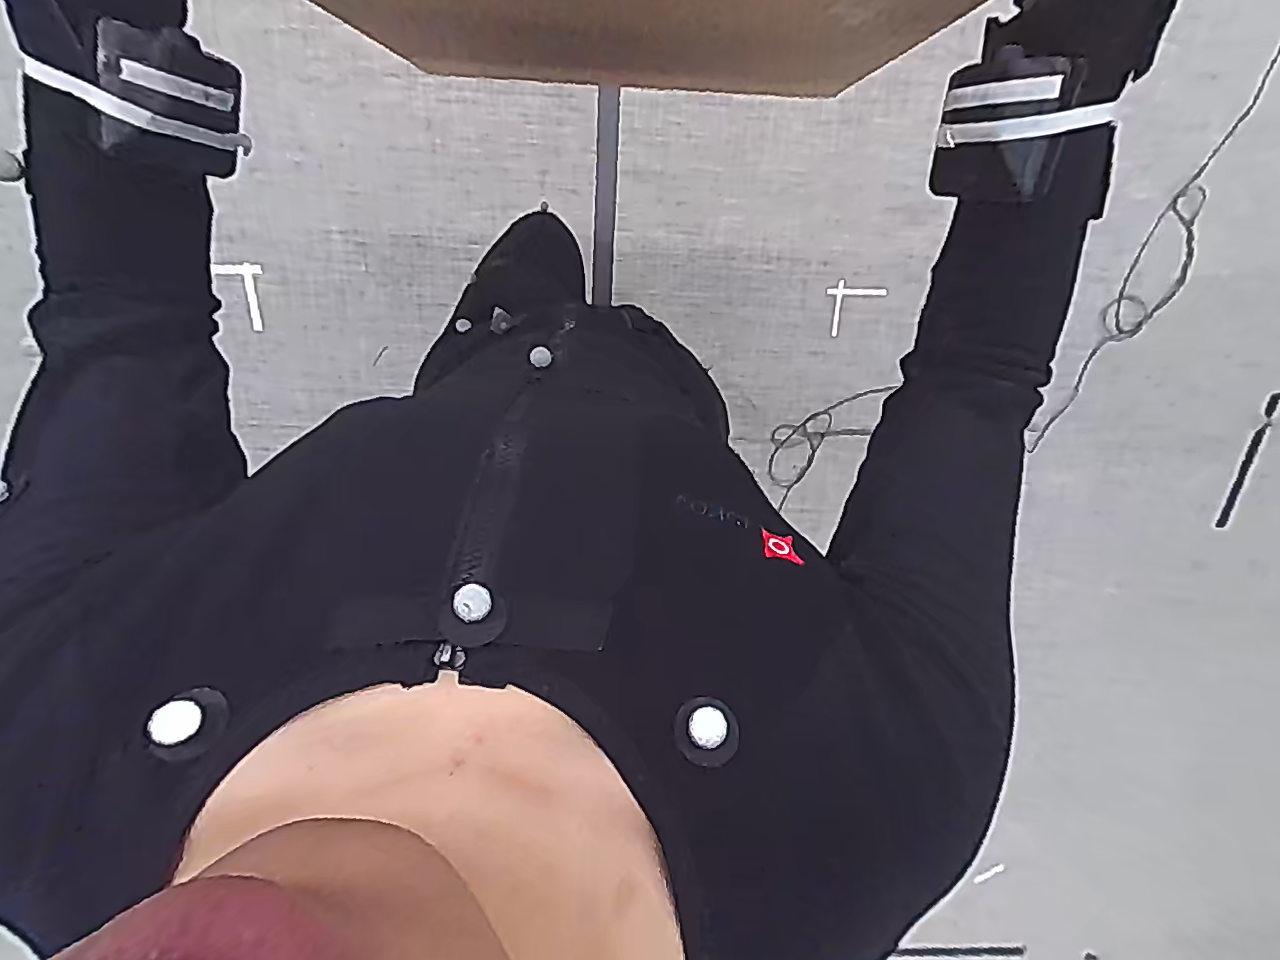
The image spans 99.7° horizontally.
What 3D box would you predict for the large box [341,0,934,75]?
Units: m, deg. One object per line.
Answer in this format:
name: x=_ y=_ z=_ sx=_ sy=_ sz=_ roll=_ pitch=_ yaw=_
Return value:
large box: x=-0.004 y=-0.467 z=0.326 sx=0.408 sy=0.320 sz=0.320 roll=2 pitch=118 yaw=-1
